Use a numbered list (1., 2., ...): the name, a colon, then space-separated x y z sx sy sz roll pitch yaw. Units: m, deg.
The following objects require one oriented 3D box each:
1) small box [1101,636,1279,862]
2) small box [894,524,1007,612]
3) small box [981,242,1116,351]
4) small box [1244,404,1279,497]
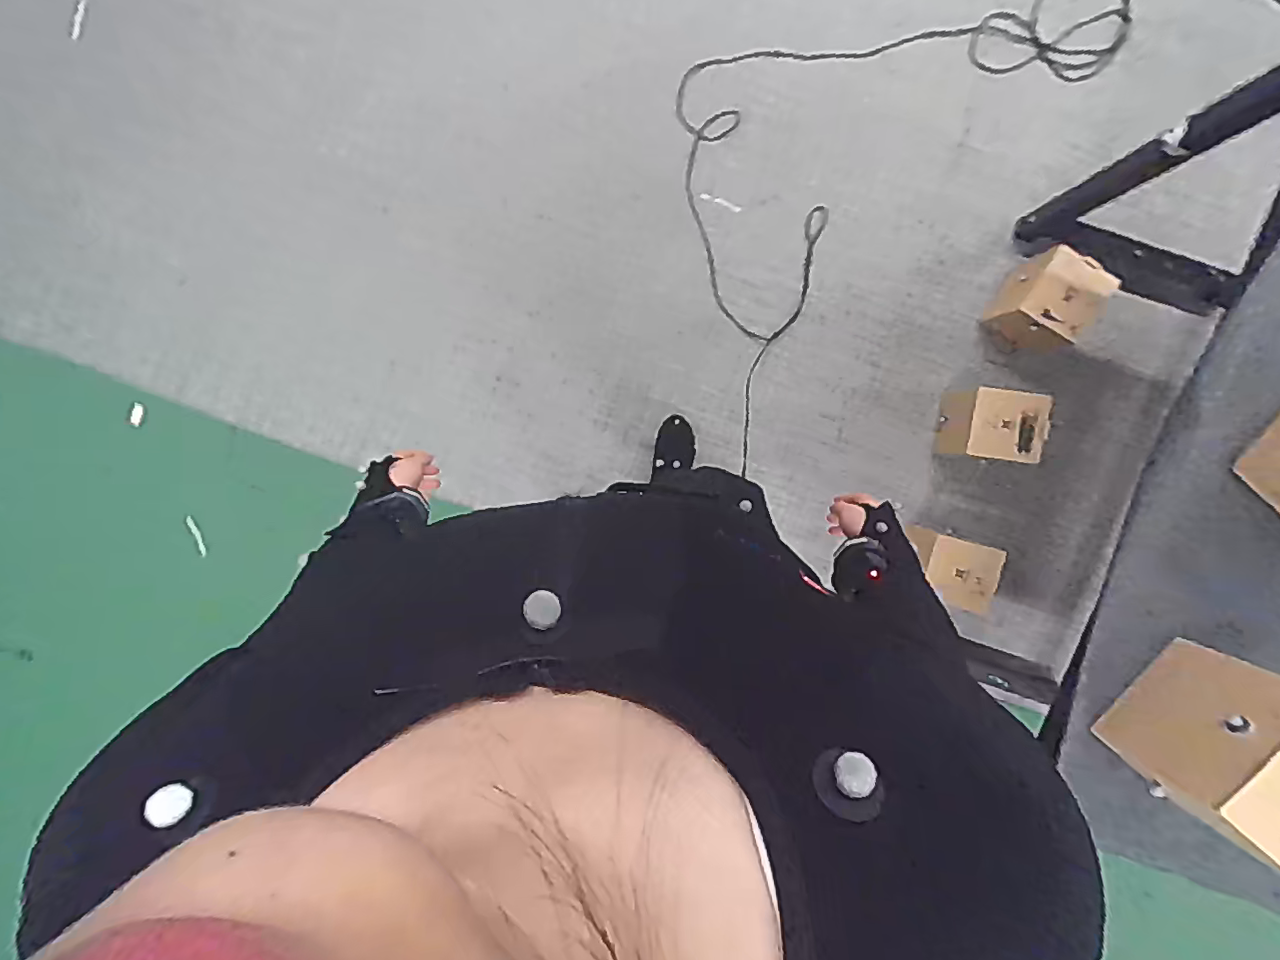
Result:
1. small box: 0.741 0.326 0.665 0.168 0.176 0.179 40 93 -4
2. small box: 0.786 0.217 1.390 0.179 0.176 0.168 14 95 1
3. small box: 0.993 -0.444 1.336 0.168 0.176 0.179 31 94 -1
4. small box: 0.898 -0.037 0.639 0.168 0.176 0.179 38 93 -5
